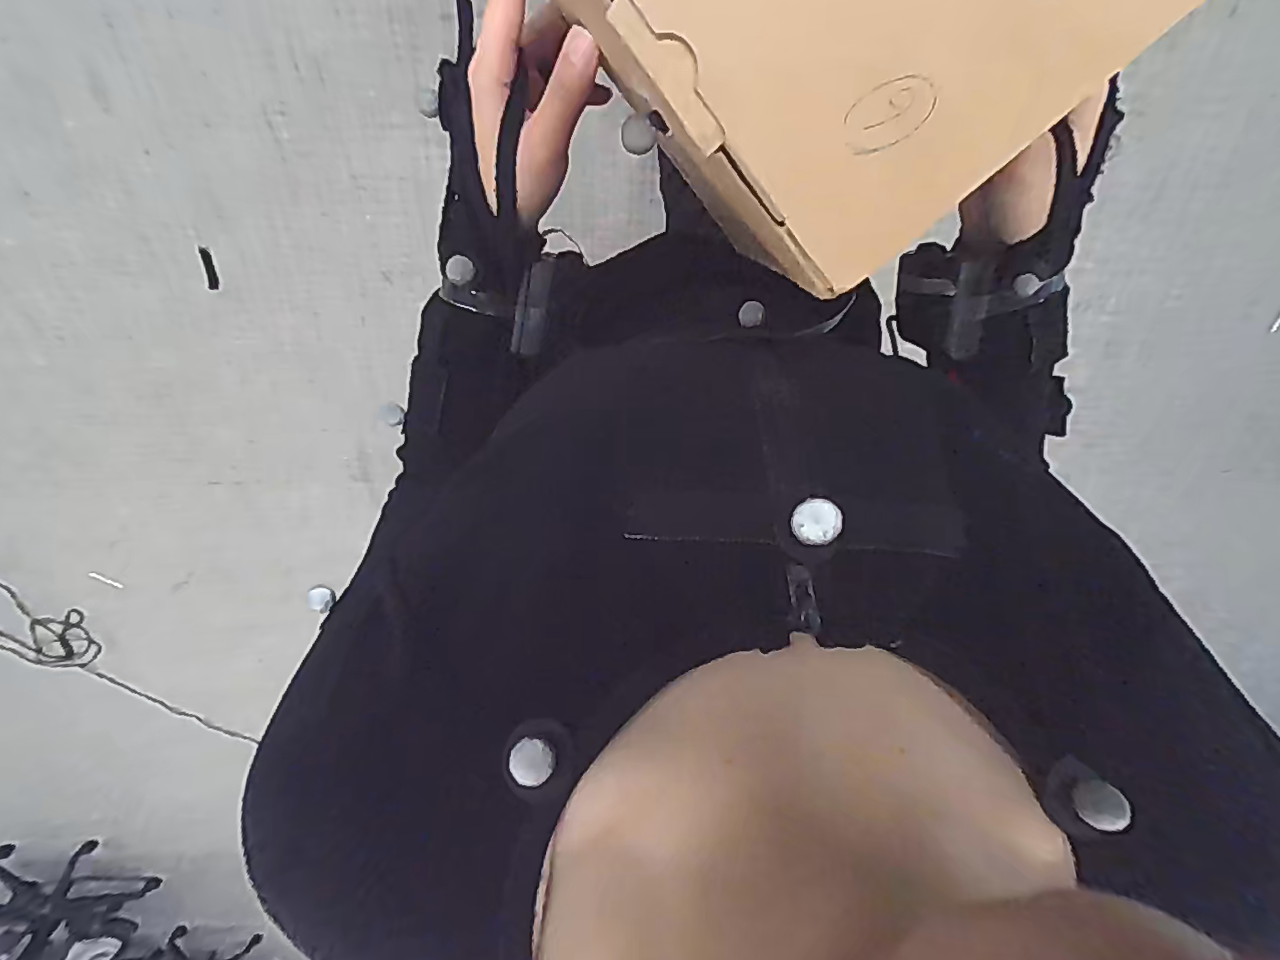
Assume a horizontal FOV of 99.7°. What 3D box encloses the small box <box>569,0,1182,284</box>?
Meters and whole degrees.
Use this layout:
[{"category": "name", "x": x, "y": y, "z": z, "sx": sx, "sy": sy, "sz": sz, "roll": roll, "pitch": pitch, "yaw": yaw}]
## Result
[{"category": "small box", "x": 0.071, "y": -0.202, "z": 0.193, "sx": 0.179, "sy": 0.176, "sz": 0.168, "roll": -38, "pitch": 111, "yaw": 19}]
